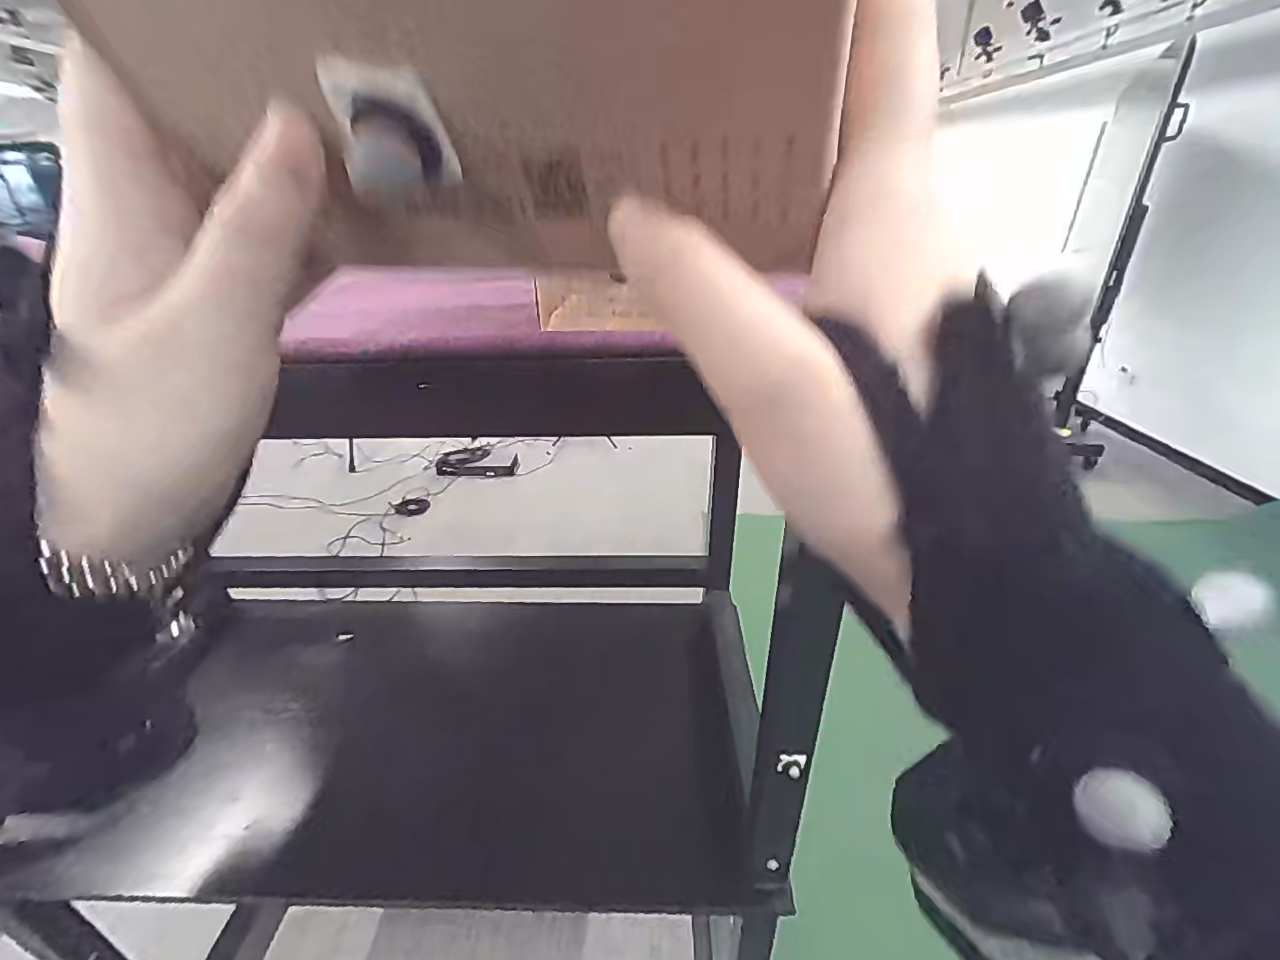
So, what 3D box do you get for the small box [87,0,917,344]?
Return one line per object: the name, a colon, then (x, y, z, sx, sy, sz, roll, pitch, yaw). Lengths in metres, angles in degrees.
small box: (-0.023, -0.157, 0.129, 0.168, 0.176, 0.179, 5, 60, 14)
